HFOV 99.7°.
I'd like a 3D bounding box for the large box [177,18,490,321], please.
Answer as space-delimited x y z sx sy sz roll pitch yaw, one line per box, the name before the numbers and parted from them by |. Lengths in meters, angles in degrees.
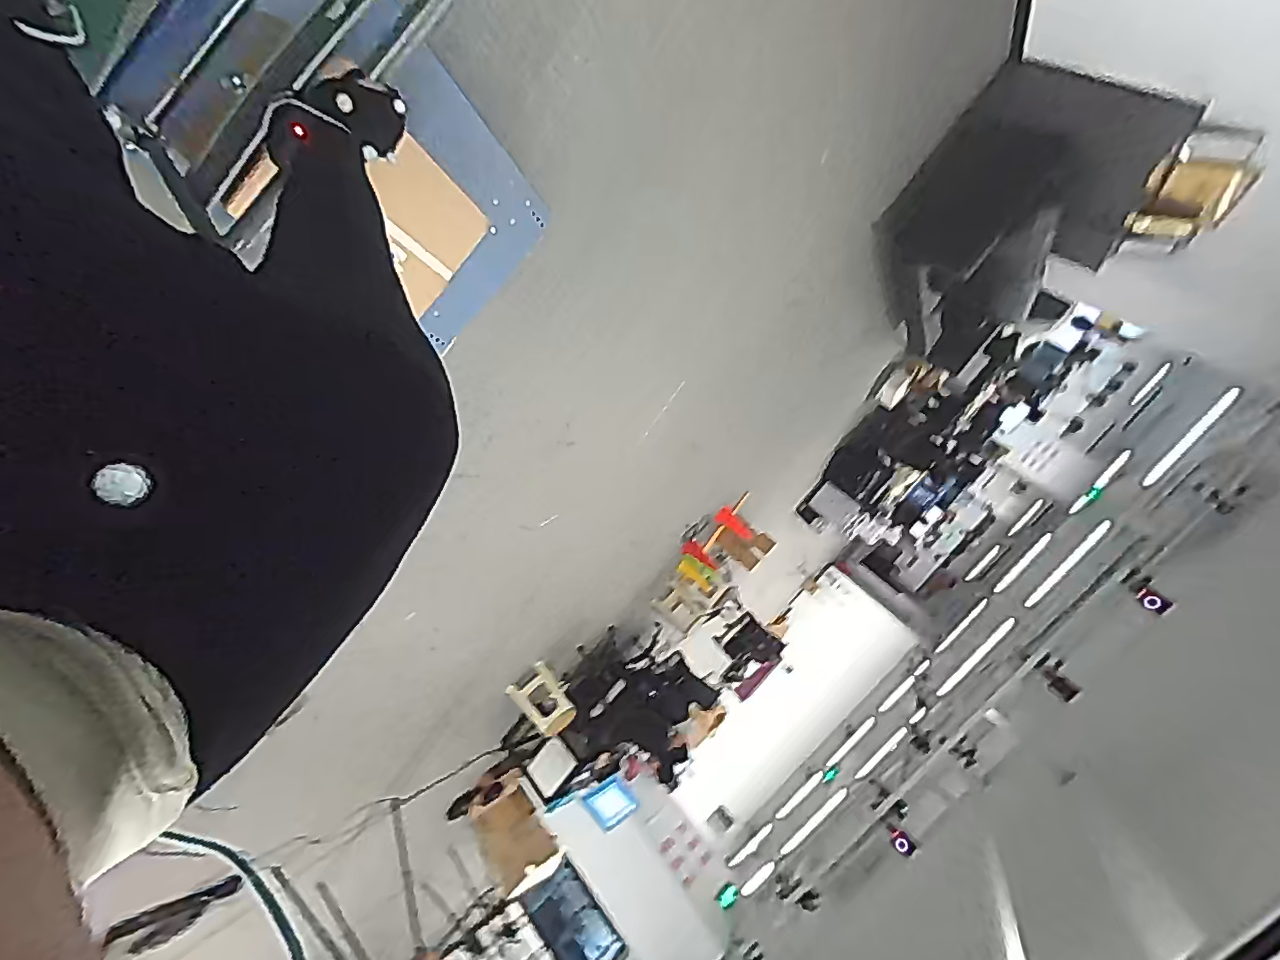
large box | -0.609 -0.611 1.118 0.320 0.320 0.408 -50 155 5
